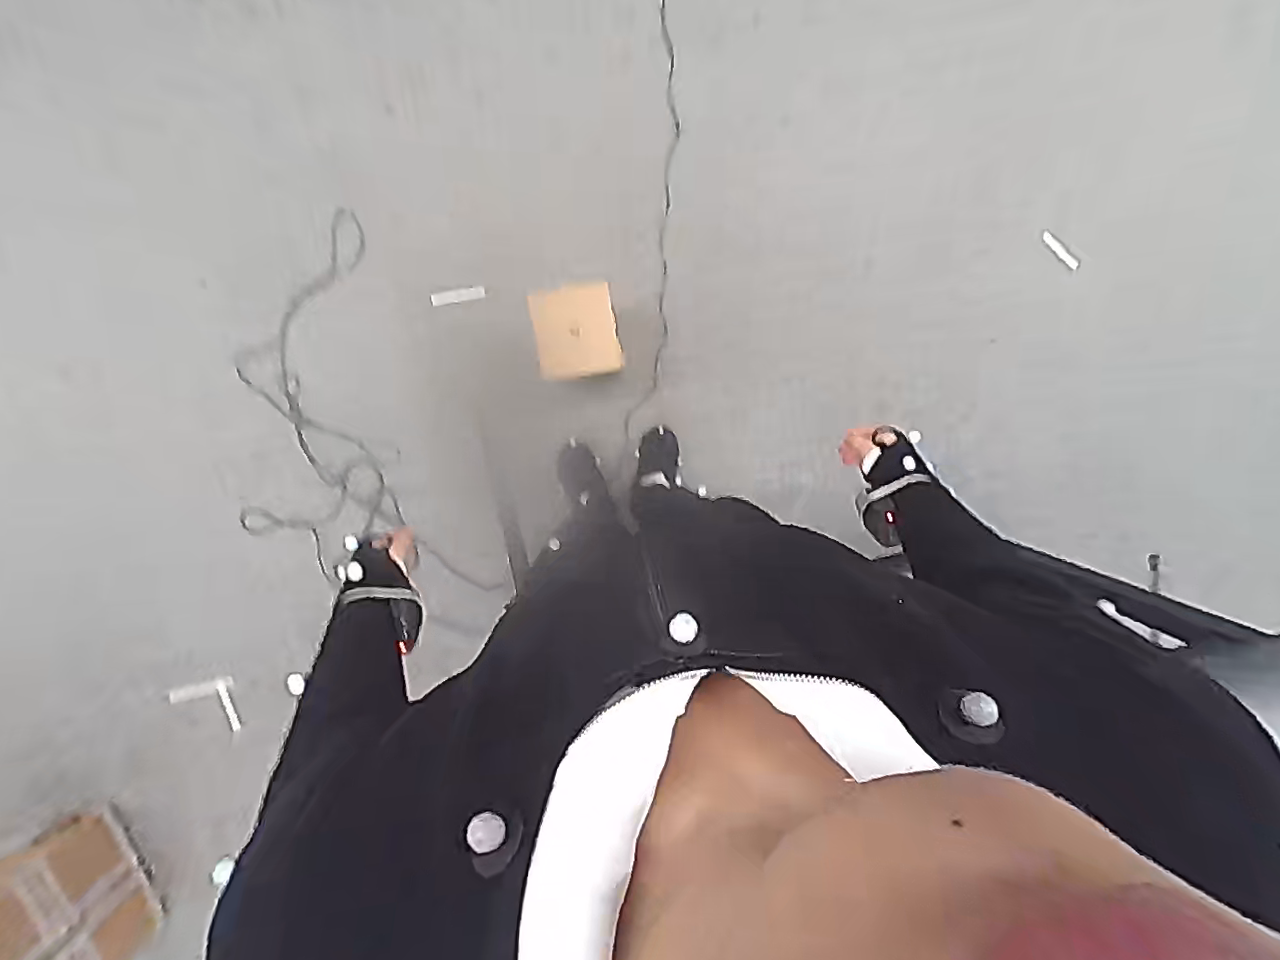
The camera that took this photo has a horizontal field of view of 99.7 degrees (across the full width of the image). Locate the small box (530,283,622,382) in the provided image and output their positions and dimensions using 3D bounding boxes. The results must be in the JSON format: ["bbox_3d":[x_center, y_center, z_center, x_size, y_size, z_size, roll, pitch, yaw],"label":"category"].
[{"bbox_3d":[-0.134,-0.312,1.174,0.168,0.176,0.179,-10,100,-1],"label":"small box"}]

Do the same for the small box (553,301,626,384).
[{"bbox_3d":[-0.138,-0.334,1.335,0.179,0.176,0.168,-12,99,-1],"label":"small box"}]
